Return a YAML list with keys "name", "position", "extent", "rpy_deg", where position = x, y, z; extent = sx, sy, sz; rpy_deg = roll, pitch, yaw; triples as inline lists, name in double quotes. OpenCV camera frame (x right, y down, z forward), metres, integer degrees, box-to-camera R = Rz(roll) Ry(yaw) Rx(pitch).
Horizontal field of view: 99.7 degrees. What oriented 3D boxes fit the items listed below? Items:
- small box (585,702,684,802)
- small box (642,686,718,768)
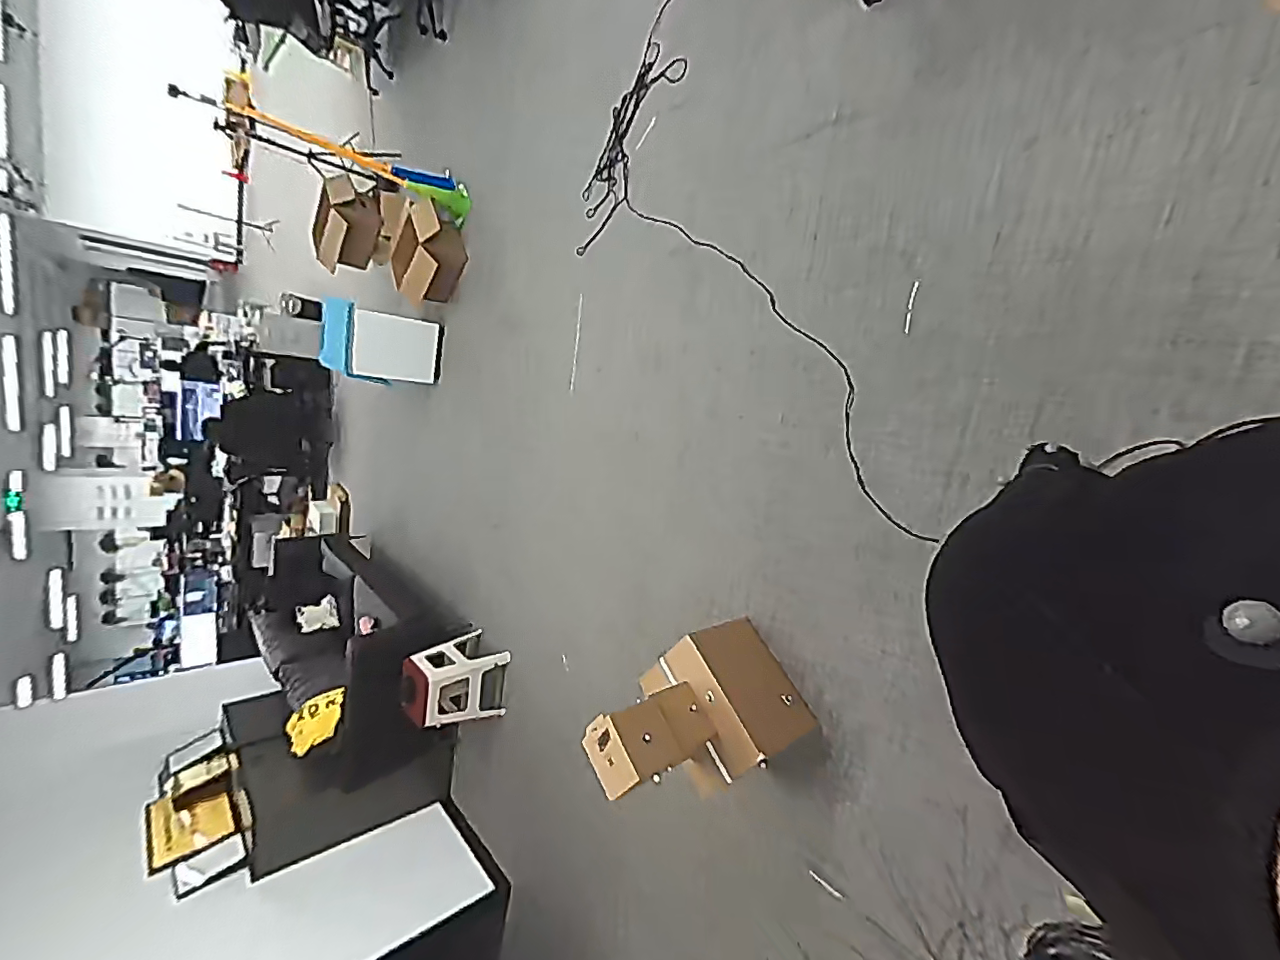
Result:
- name: "small box"
  position: [-0.016, 0.730, 1.473]
  extent: [0.179, 0.176, 0.168]
  rpy_deg: [56, 128, 29]
- name: "small box"
  position: [0.093, 0.733, 1.598]
  extent: [0.179, 0.176, 0.168]
  rpy_deg: [53, 127, 33]
